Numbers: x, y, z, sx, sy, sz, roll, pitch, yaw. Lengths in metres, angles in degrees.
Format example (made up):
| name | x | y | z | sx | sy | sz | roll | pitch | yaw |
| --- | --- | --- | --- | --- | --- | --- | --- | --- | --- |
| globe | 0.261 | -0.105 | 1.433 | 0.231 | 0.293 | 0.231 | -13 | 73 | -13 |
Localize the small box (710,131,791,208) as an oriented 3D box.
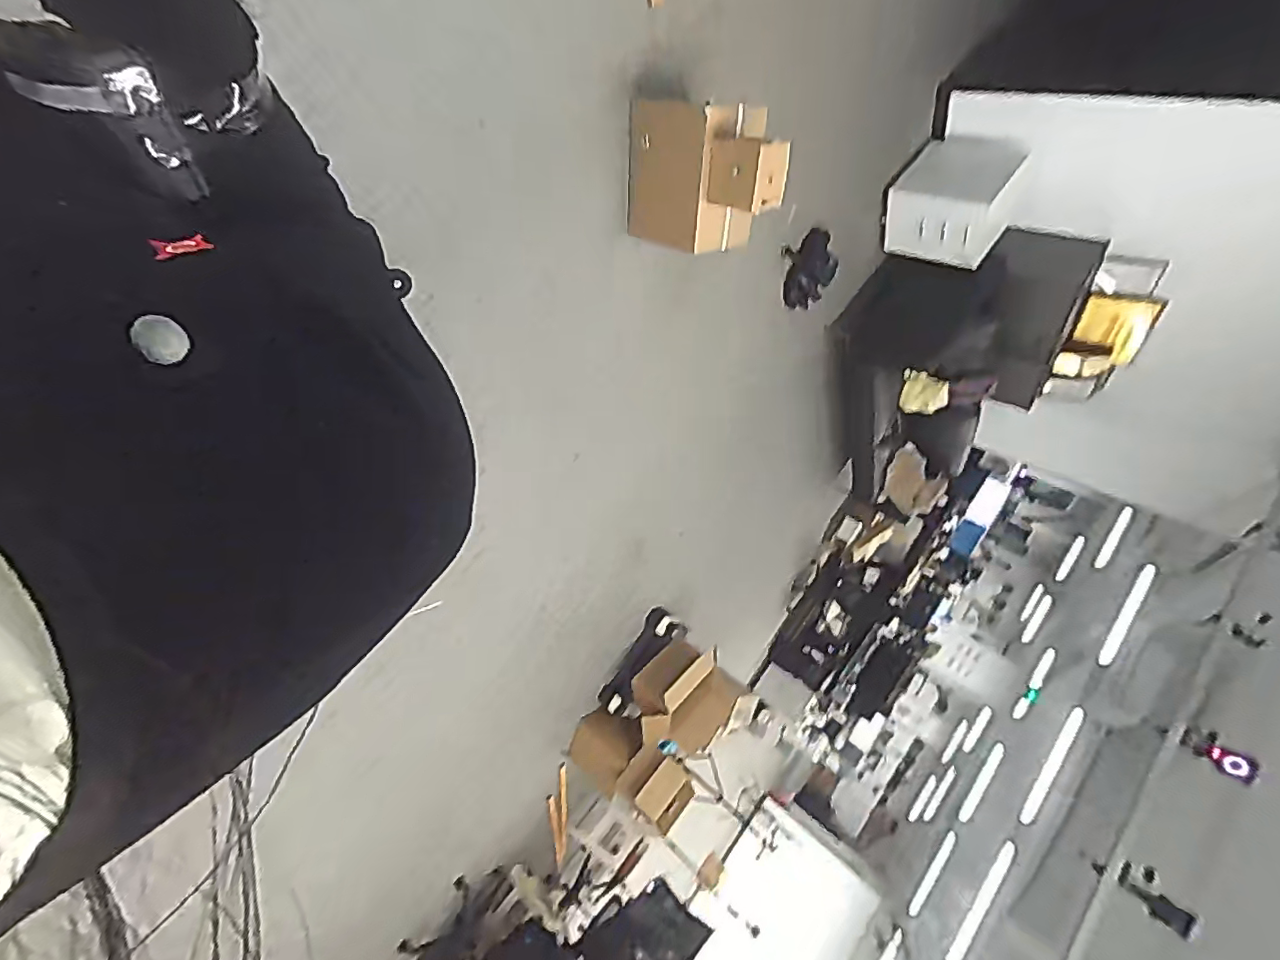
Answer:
| name | x | y | z | sx | sy | sz | roll | pitch | yaw |
| --- | --- | --- | --- | --- | --- | --- | --- | --- | --- |
| small box | 0.326 | -0.935 | 1.618 | 0.168 | 0.176 | 0.179 | -36 | 141 | -33 |
